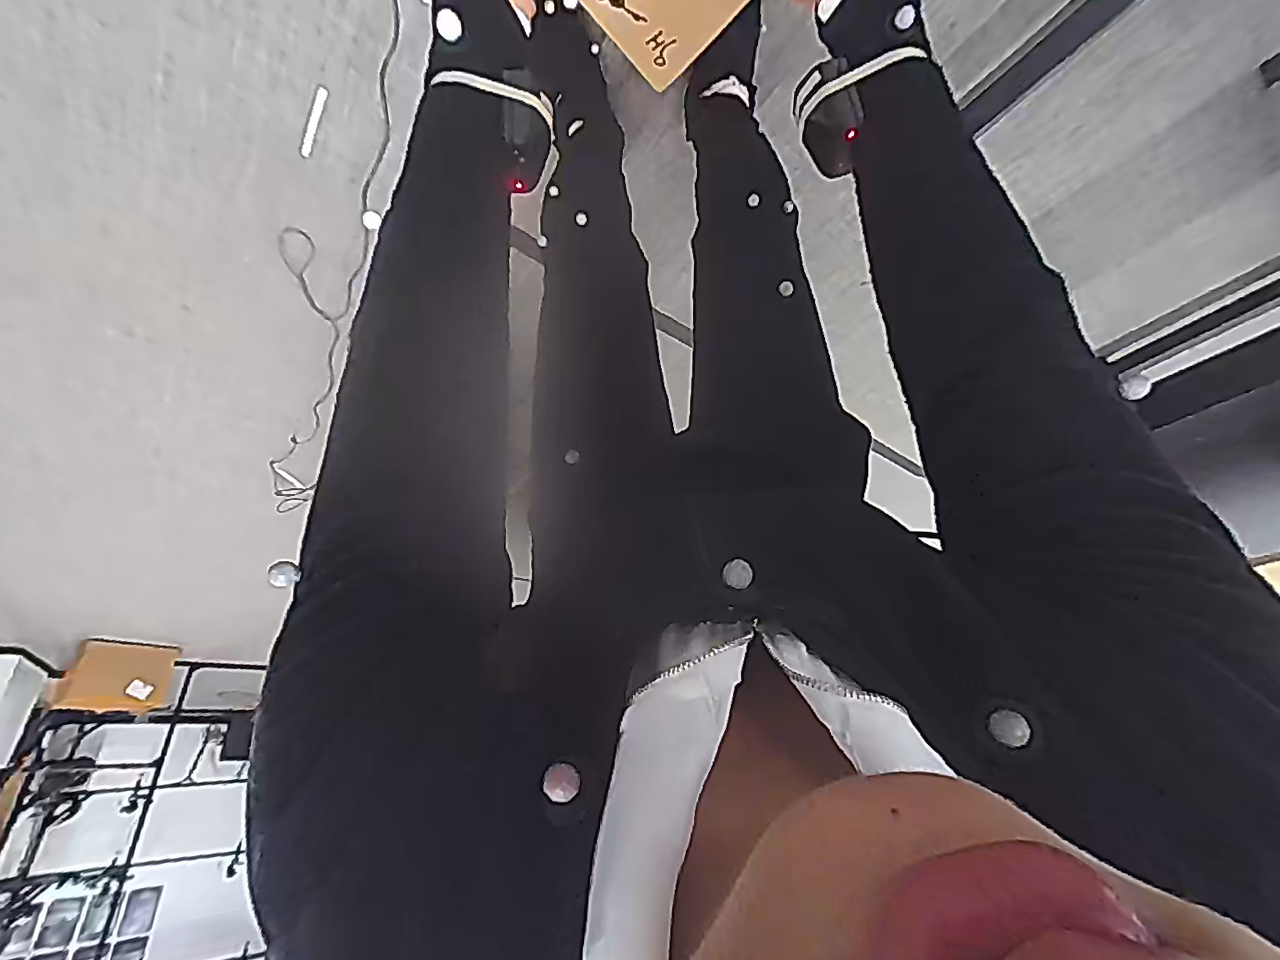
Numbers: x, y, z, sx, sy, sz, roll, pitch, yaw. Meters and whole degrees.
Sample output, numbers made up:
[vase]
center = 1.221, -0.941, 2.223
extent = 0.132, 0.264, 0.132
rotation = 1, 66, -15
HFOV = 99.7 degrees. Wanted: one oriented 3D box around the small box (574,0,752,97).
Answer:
[small box]
center = 0.015, -0.482, 0.440
extent = 0.179, 0.176, 0.168
rotation = -30, 143, 34
